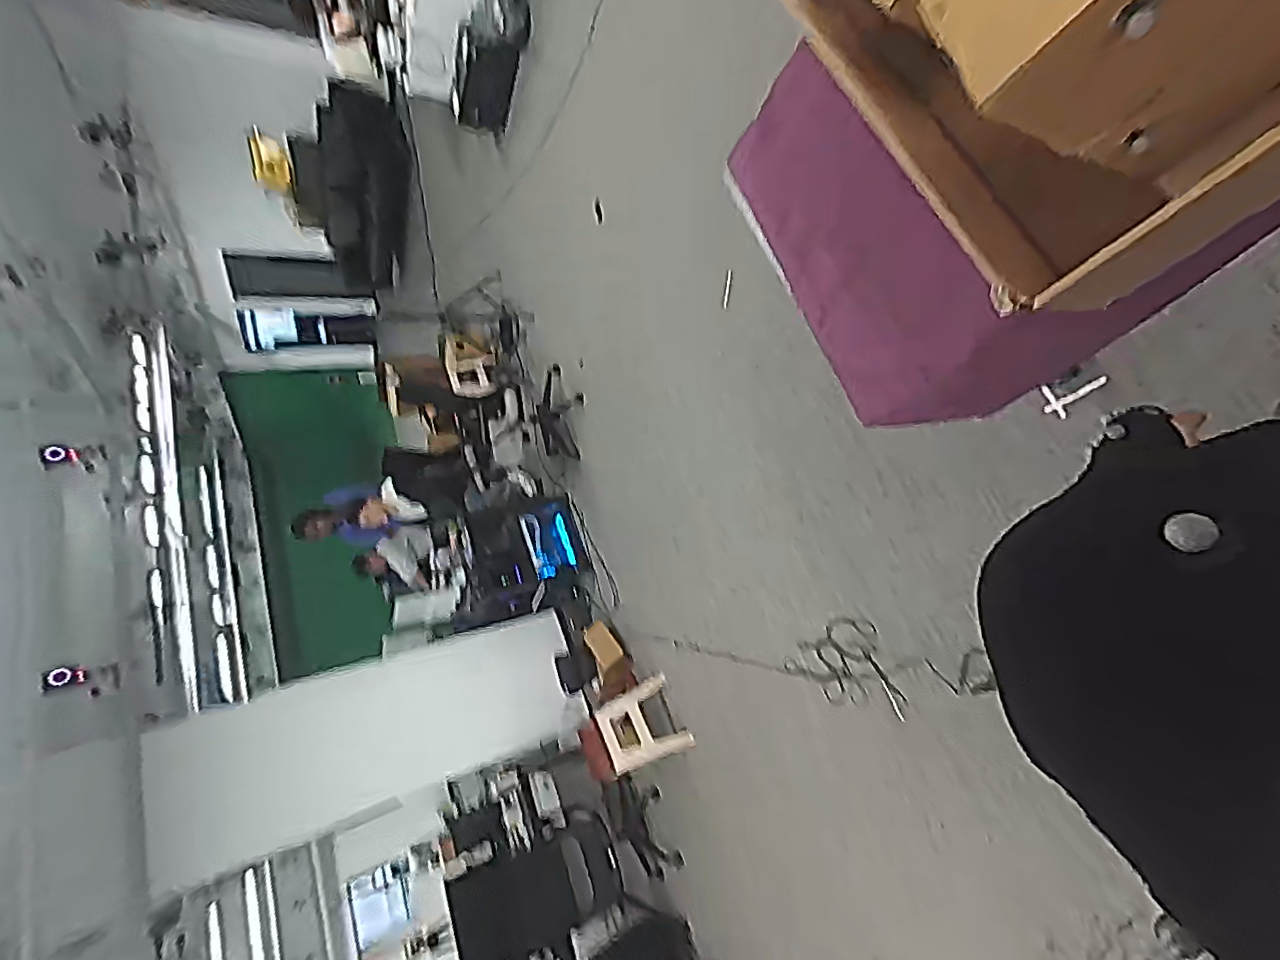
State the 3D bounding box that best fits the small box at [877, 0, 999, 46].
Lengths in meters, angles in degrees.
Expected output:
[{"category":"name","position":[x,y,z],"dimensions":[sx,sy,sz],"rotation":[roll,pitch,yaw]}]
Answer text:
[{"category":"small box","position":[0.327,-0.618,0.573],"dimensions":[0.179,0.176,0.168],"rotation":[-50,57,49]}]
